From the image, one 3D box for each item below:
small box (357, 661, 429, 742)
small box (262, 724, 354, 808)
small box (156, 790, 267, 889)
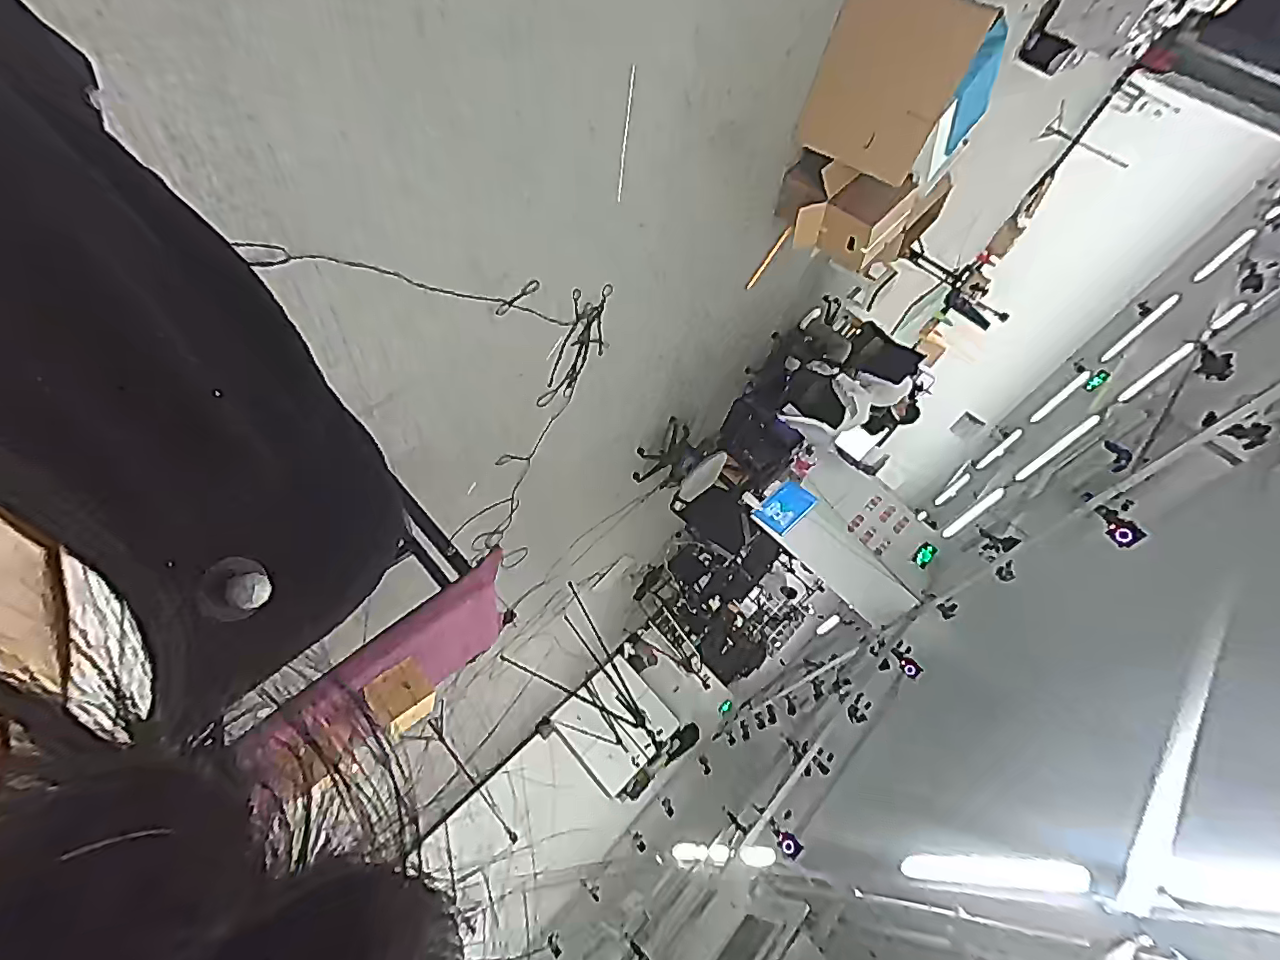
[{"bbox_3d":[-0.859,0.760,1.873,0.168,0.176,0.179,-31,157,-43],"label":"small box"},{"bbox_3d":[-1.059,0.913,1.730,0.168,0.176,0.179,-38,160,-27],"label":"small box"},{"bbox_3d":[-1.241,1.039,1.572,0.179,0.176,0.168,-36,160,-32],"label":"small box"}]
